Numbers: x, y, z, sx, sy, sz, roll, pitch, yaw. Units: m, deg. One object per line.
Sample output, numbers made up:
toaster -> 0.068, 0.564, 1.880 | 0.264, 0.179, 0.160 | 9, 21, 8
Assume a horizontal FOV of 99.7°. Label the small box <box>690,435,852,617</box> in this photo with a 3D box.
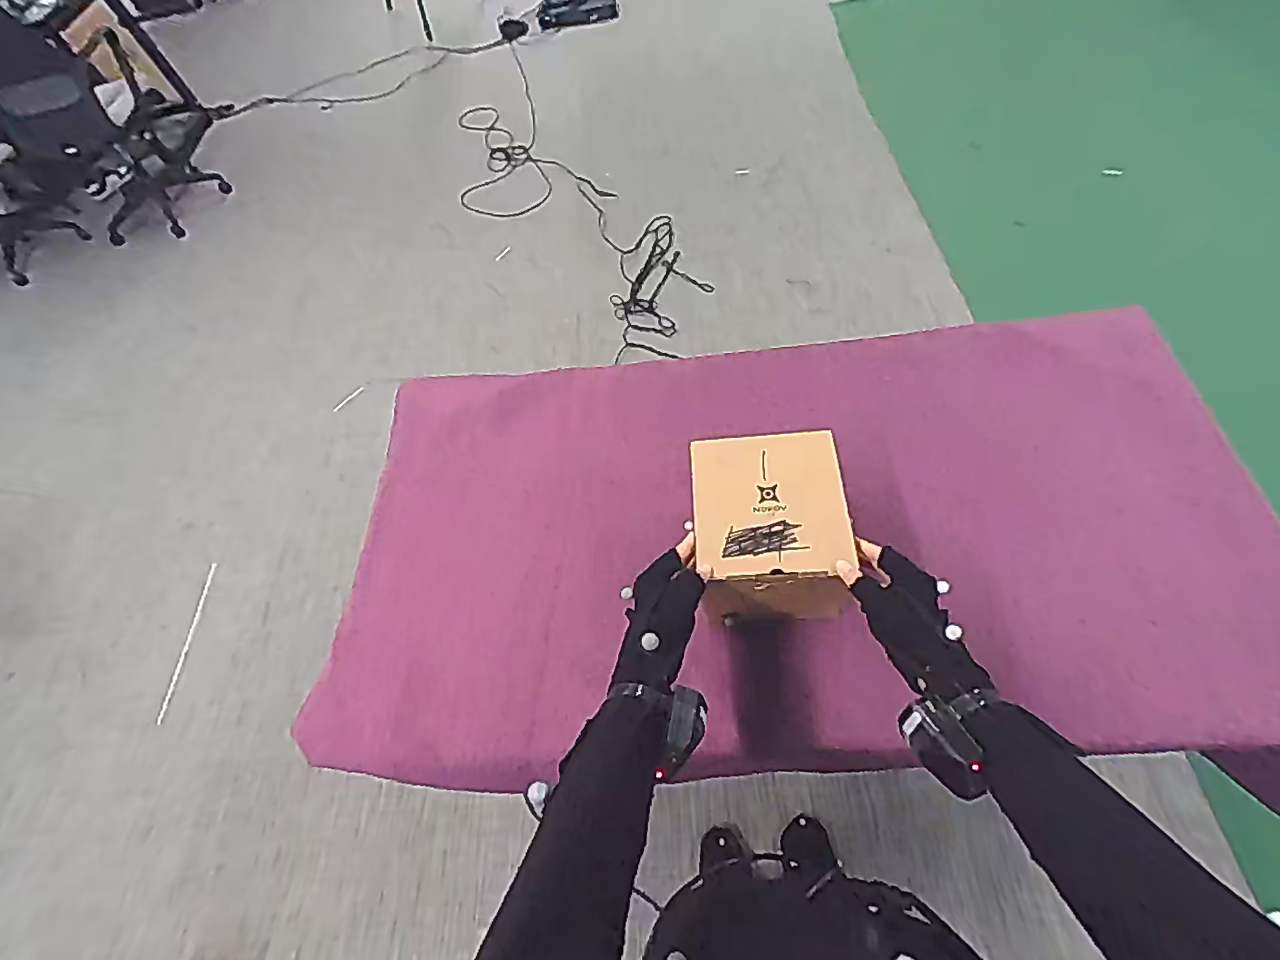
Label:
small box -> 0.153, 0.067, 0.672 | 0.168, 0.176, 0.179 | -4, 59, 8
